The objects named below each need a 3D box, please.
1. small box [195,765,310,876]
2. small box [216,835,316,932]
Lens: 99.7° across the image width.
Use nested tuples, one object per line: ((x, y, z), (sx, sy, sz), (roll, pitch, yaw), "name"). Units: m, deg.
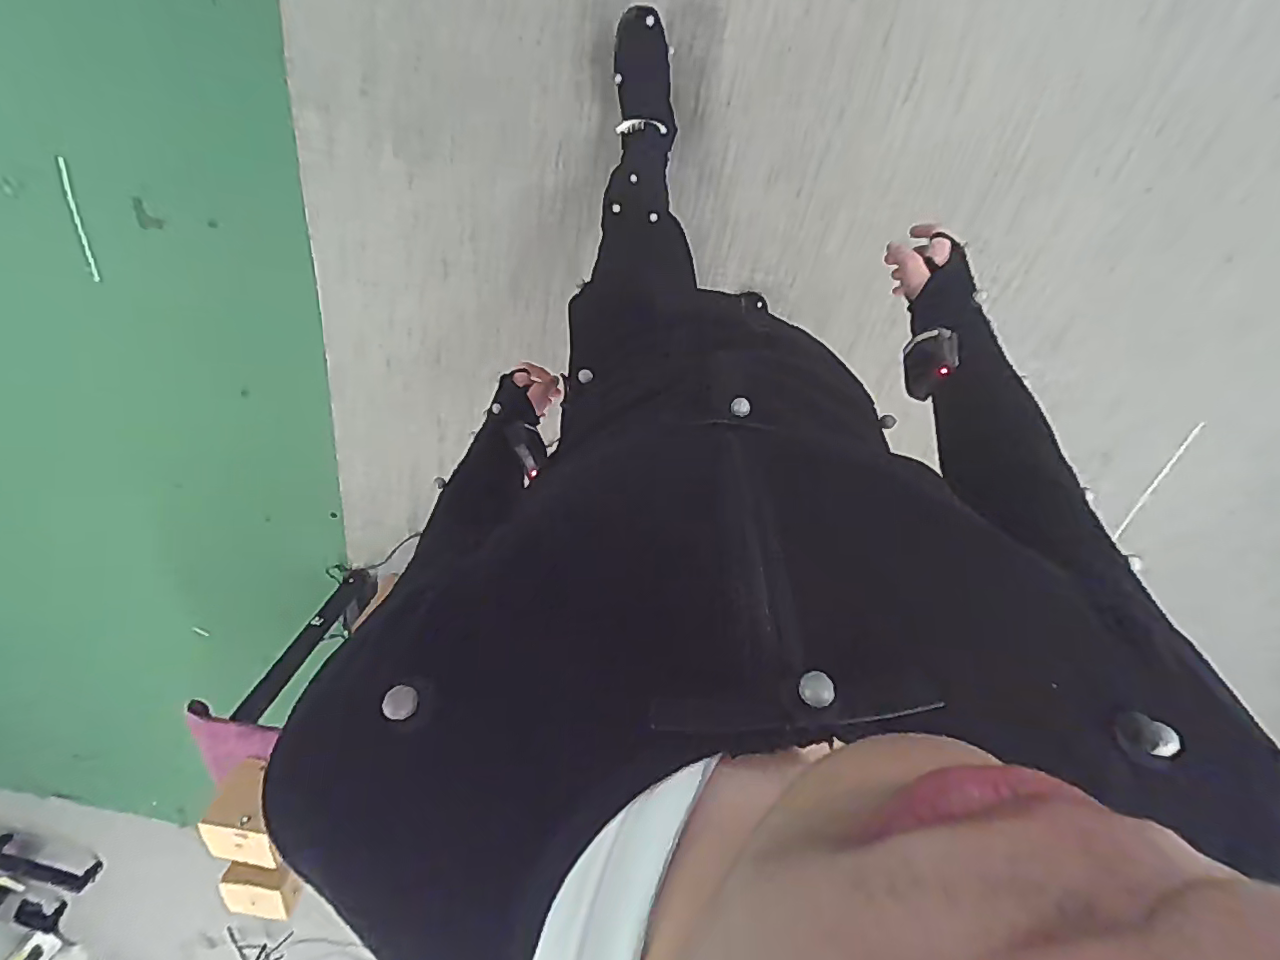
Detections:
((-0.971, 0.864, 1.376), (0.168, 0.176, 0.179), (12, 122, -3), "small box")
((-1.045, 1.129, 1.529), (0.168, 0.176, 0.179), (11, 118, -3), "small box")
